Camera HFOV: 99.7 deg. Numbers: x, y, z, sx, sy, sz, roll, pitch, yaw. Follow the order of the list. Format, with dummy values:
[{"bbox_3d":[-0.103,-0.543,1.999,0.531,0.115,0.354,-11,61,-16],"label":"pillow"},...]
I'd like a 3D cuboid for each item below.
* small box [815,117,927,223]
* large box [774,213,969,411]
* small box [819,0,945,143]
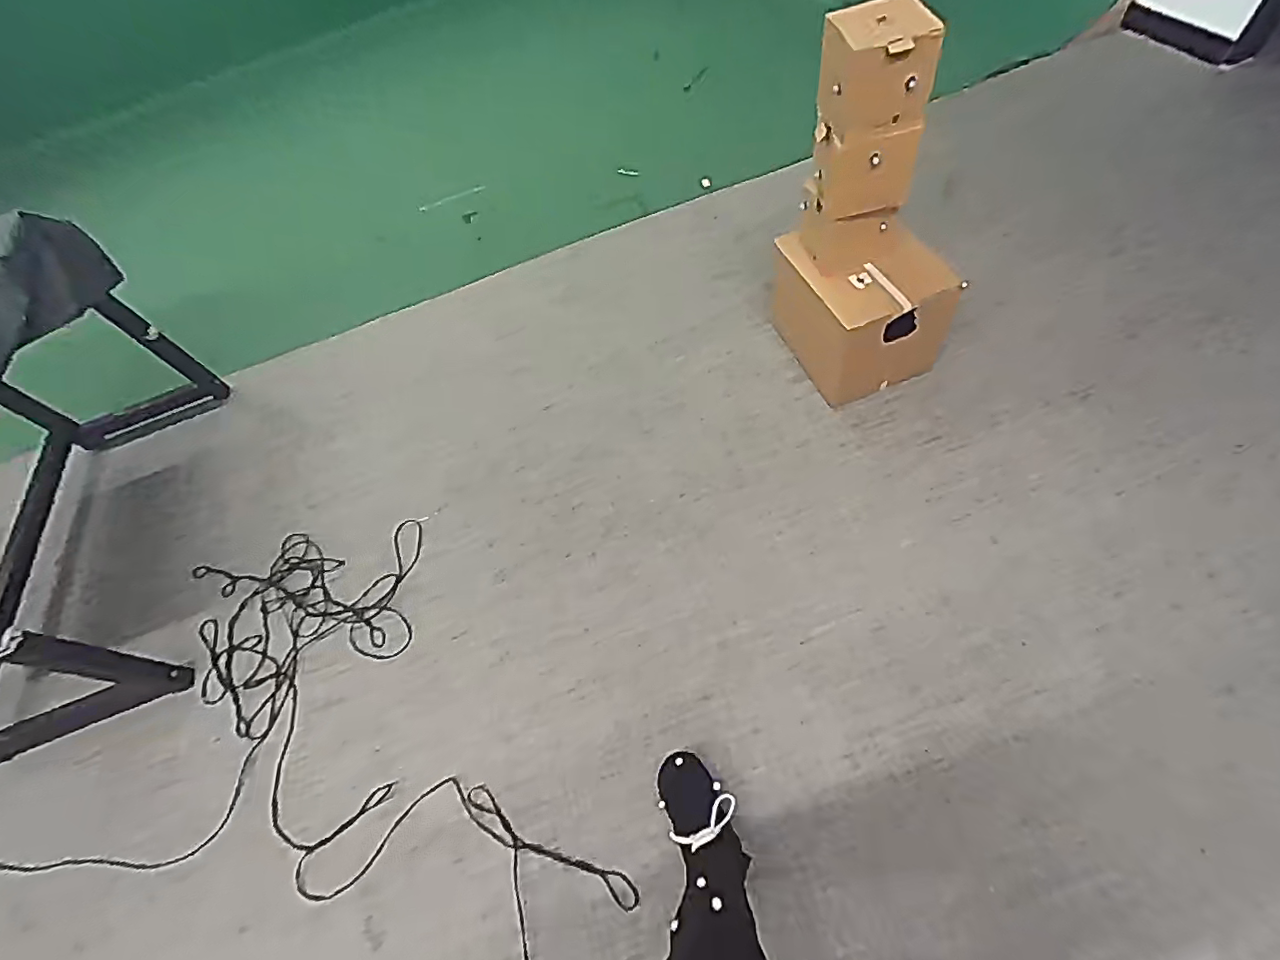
[{"bbox_3d":[0.504,-0.711,1.209,0.179,0.176,0.168,-10,59,6],"label":"small box"},{"bbox_3d":[0.611,-0.476,1.526,0.320,0.320,0.408,-23,59,0],"label":"large box"},{"bbox_3d":[0.471,-0.805,1.080,0.168,0.176,0.179,-12,57,4],"label":"small box"}]
